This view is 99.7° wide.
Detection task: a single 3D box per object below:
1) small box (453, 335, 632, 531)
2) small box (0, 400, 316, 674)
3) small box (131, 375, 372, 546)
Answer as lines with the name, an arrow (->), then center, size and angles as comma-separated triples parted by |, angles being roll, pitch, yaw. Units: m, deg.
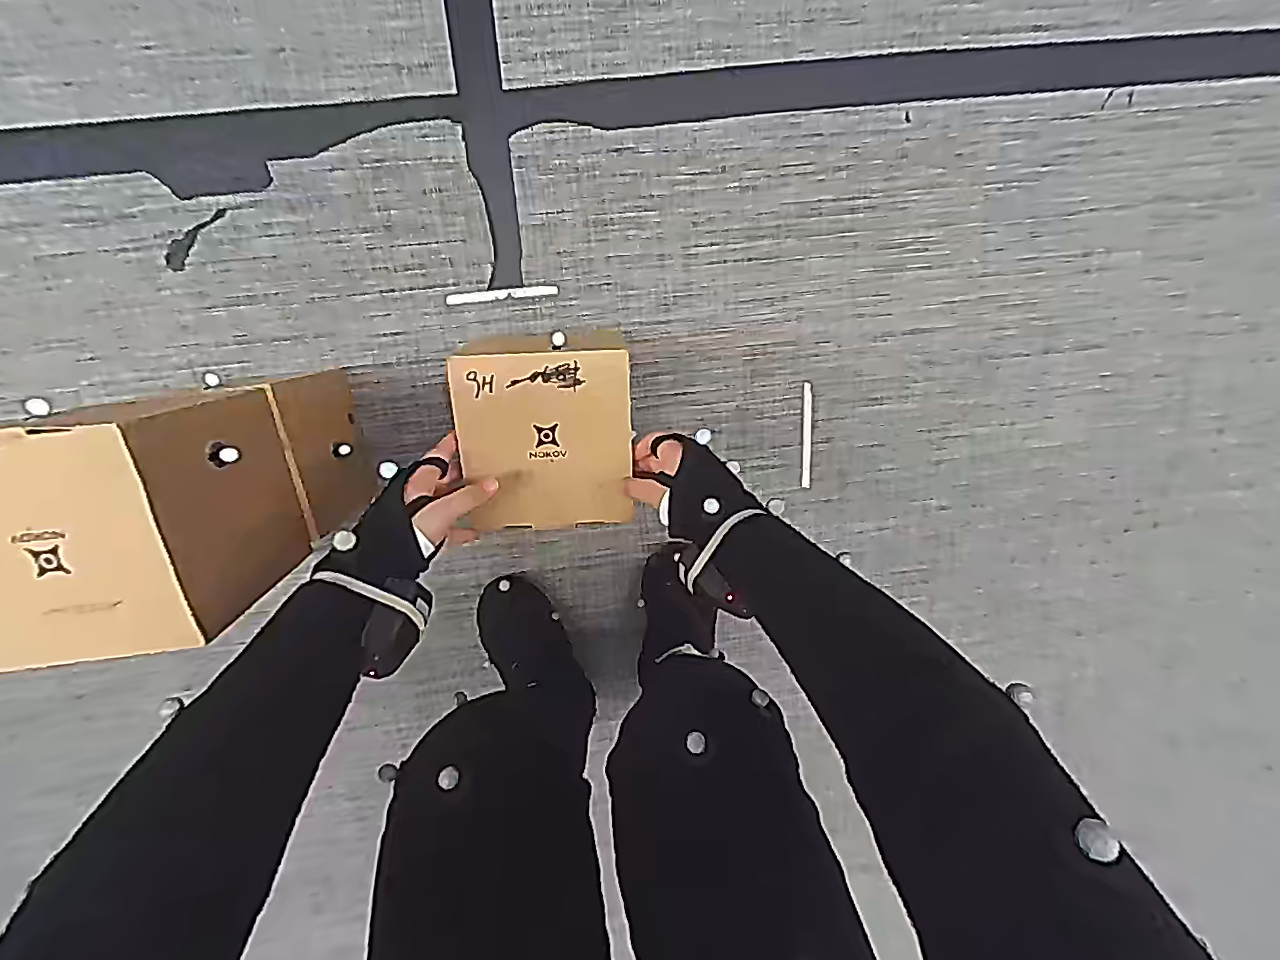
small box -> -0.095, -0.059, 0.599 | 0.168, 0.176, 0.179 | -2, 112, -5
small box -> -0.416, 0.032, 0.460 | 0.168, 0.176, 0.179 | -6, 109, -2
small box -> -0.429, -0.021, 0.613 | 0.179, 0.176, 0.168 | -8, 108, -3
